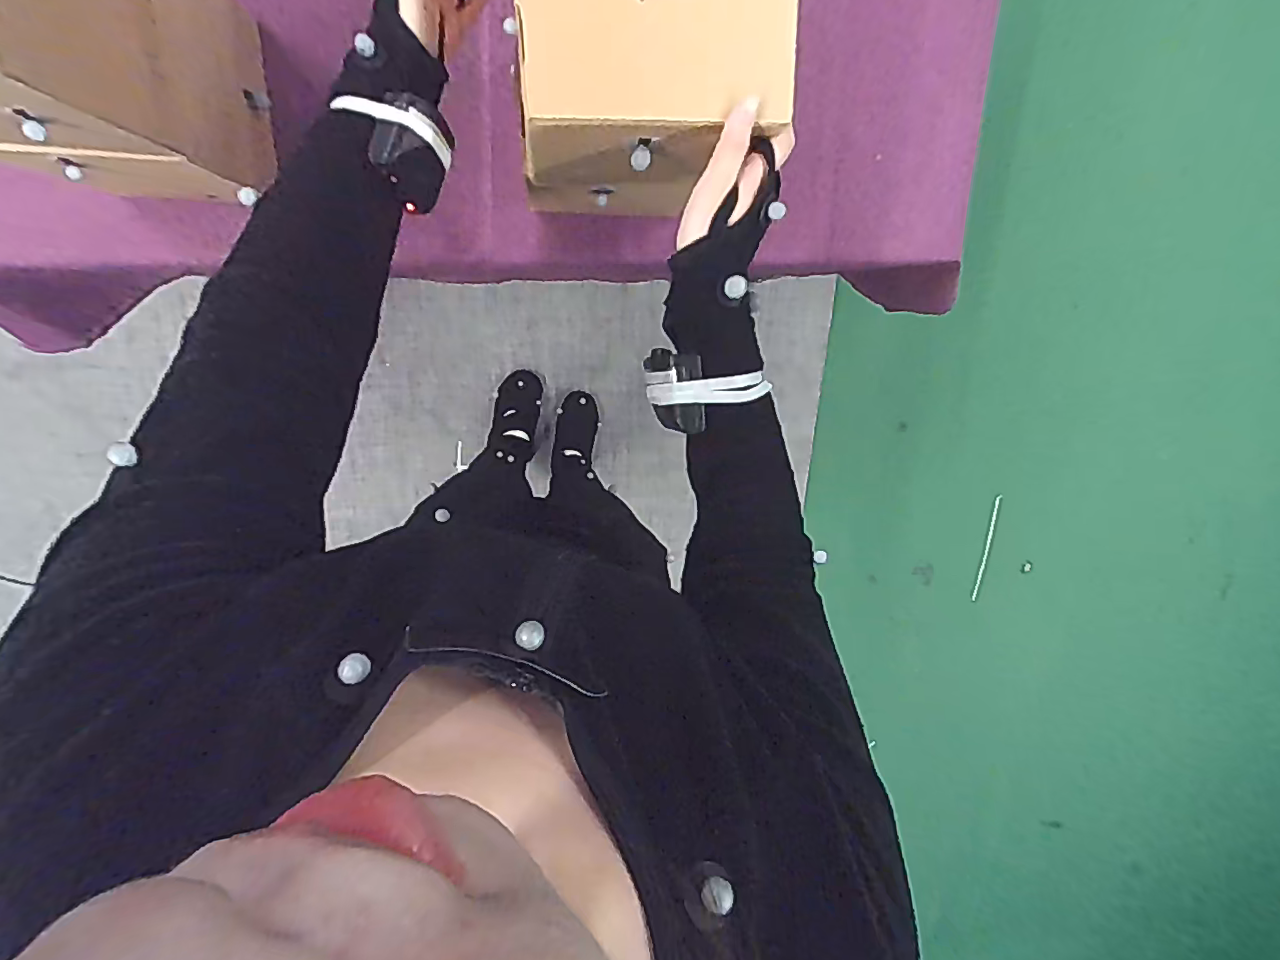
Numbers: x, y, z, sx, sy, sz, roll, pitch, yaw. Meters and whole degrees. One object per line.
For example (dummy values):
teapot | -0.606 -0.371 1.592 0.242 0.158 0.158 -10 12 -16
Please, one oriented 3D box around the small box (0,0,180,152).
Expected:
small box | -0.433 -0.323 0.336 0.179 0.176 0.168 1 106 -9

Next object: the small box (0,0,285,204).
small box | -0.458 -0.370 0.491 0.168 0.176 0.179 0 106 -8

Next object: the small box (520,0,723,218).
small box | -0.026 -0.375 0.555 0.179 0.176 0.168 -1 107 -9
